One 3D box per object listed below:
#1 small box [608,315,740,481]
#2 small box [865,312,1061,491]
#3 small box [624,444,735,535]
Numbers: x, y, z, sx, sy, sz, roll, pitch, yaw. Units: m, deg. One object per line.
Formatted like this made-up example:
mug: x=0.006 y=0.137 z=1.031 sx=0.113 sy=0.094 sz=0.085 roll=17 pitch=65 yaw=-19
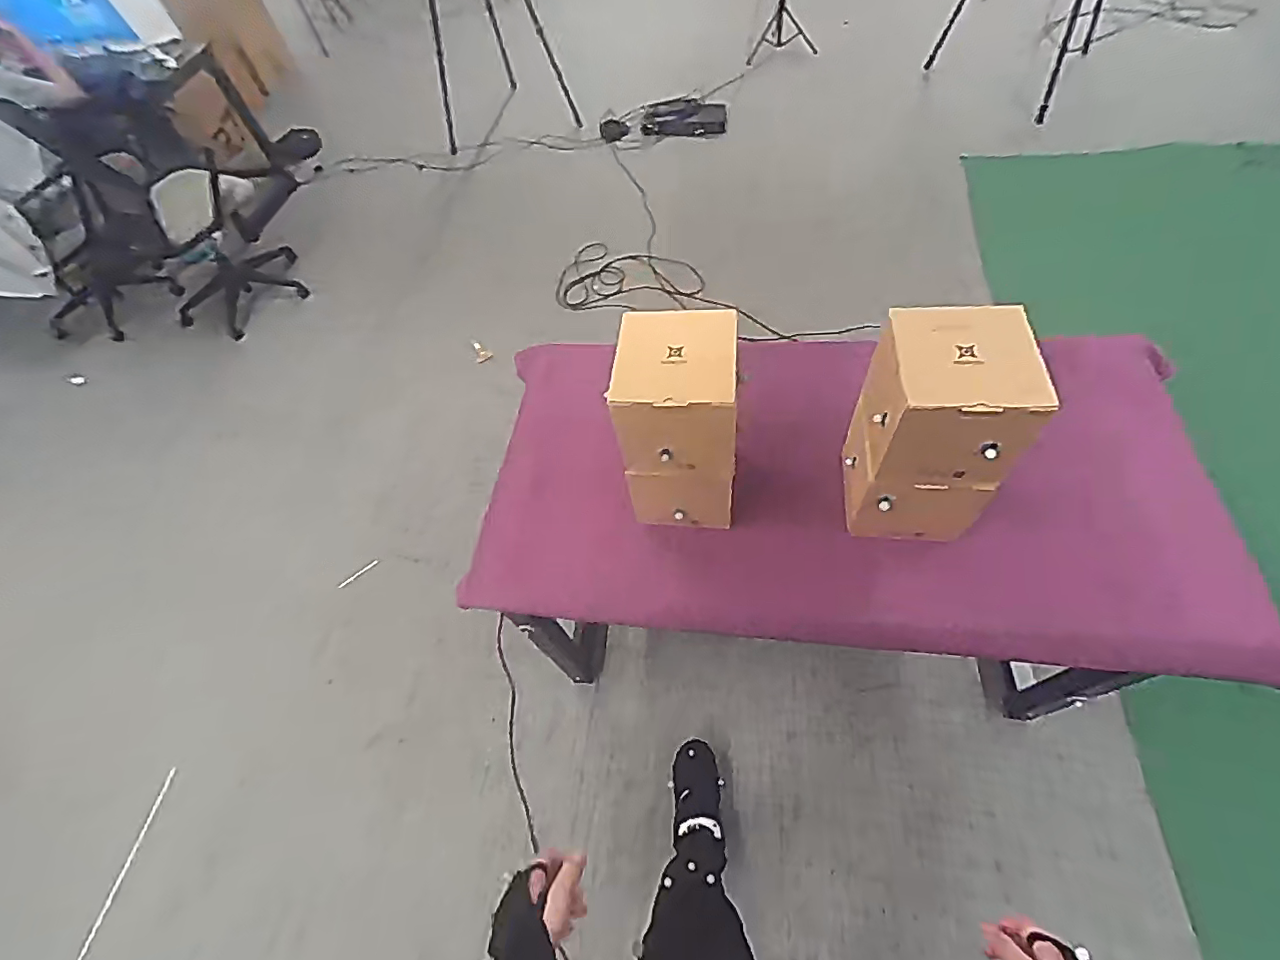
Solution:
small box: x=0.056 y=-0.118 z=0.786 sx=0.168 sy=0.176 sz=0.179 roll=2 pitch=58 yaw=9
small box: x=0.410 y=-0.100 z=0.723 sx=0.168 sy=0.176 sz=0.179 roll=3 pitch=57 yaw=9
small box: x=0.075 y=-0.027 z=0.920 sx=0.168 sy=0.176 sz=0.179 roll=3 pitch=58 yaw=10
